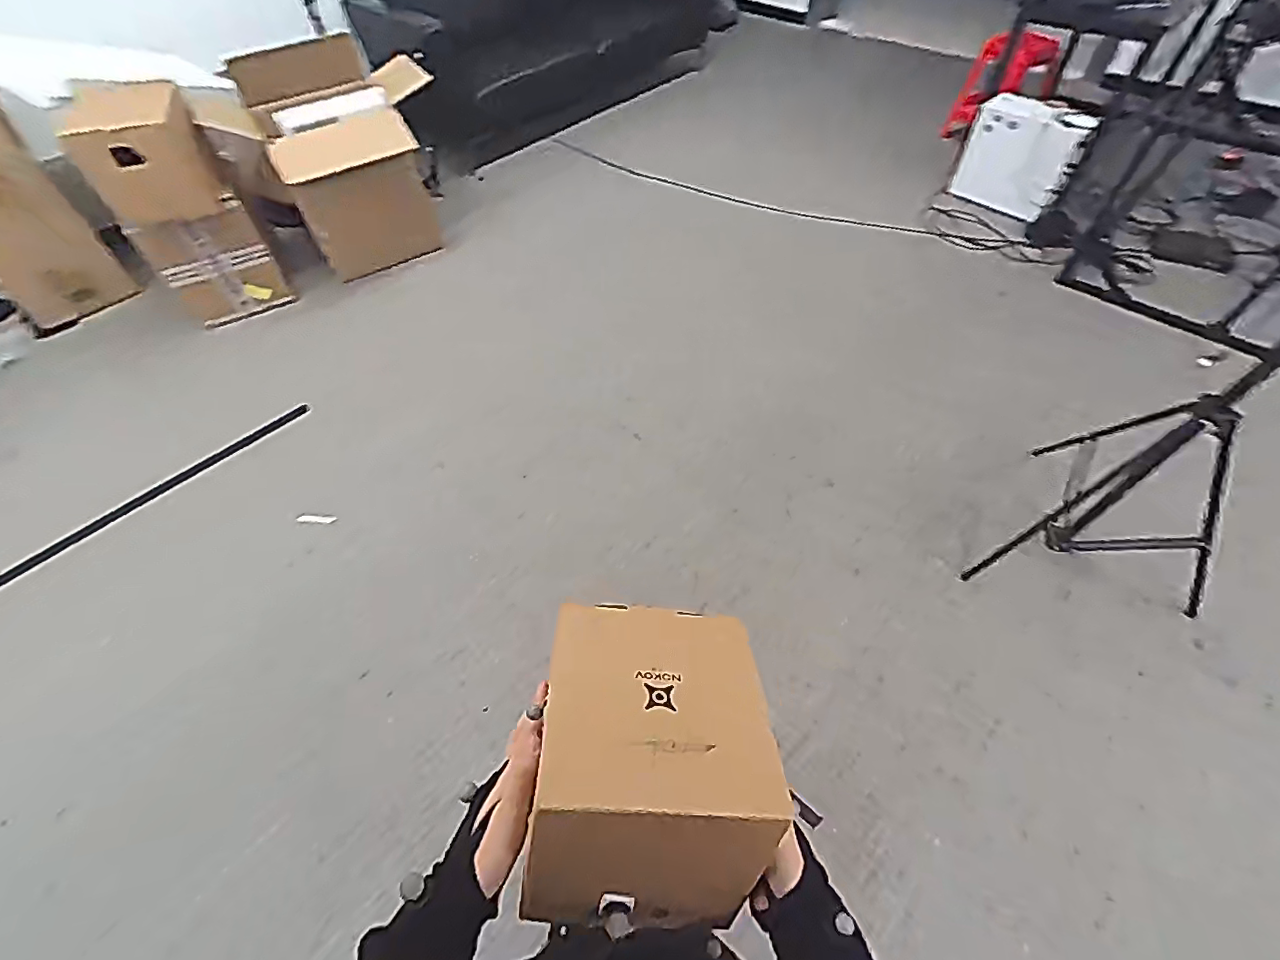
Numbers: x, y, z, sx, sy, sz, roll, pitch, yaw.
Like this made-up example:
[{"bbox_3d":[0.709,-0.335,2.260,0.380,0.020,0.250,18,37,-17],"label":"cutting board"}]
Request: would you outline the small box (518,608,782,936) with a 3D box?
[{"bbox_3d":[-0.005,0.234,0.448,0.168,0.176,0.179,7,31,-7],"label":"small box"}]
